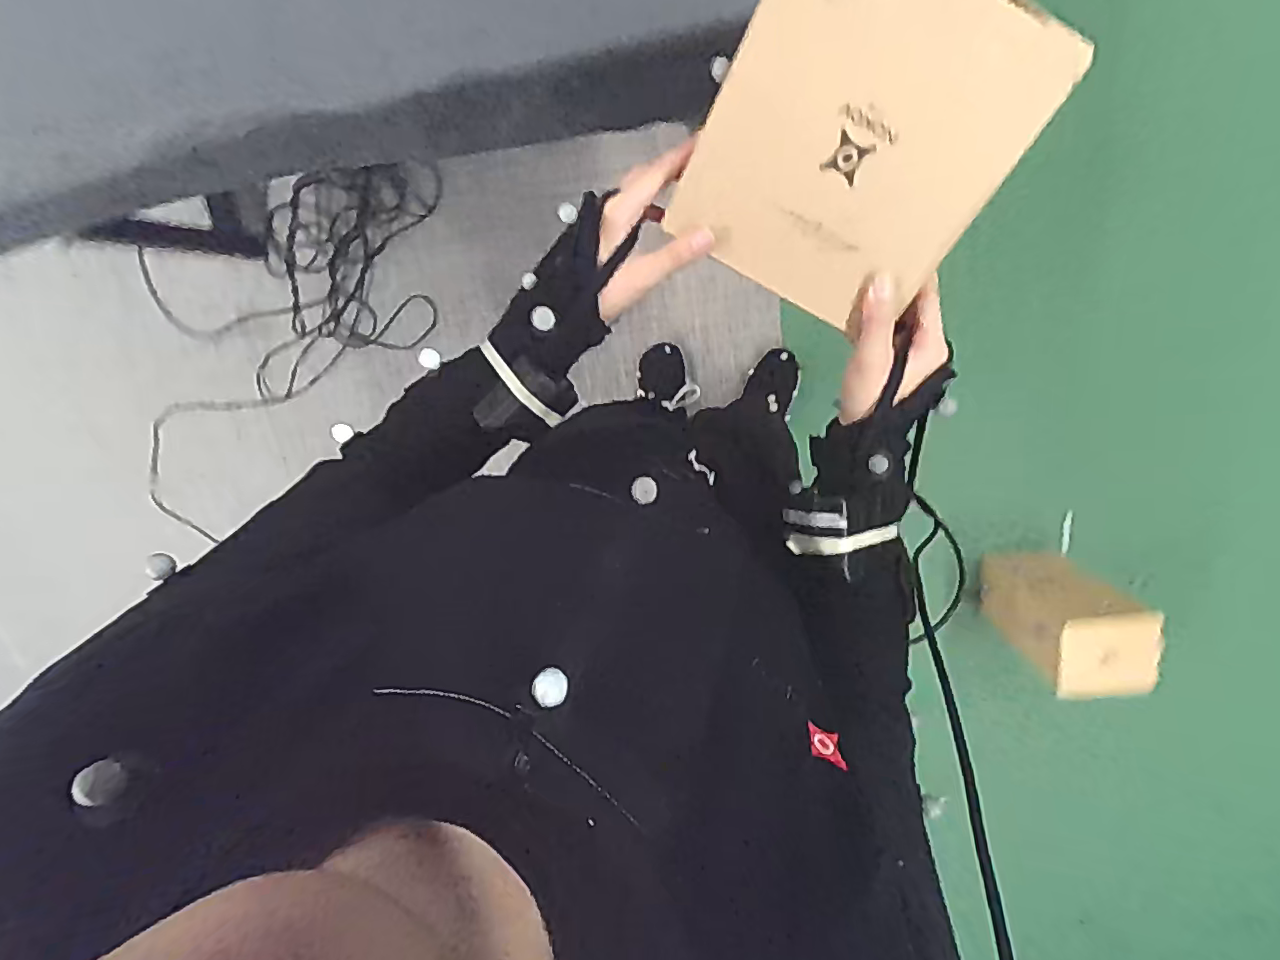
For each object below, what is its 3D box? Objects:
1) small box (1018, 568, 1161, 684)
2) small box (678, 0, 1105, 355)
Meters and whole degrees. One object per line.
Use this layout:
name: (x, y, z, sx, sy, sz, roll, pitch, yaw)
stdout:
small box: (0.931, 0.302, 1.139, 0.179, 0.176, 0.168, -10, 106, 8)
small box: (0.145, -0.224, 0.379, 0.168, 0.176, 0.179, 28, 122, -4)
